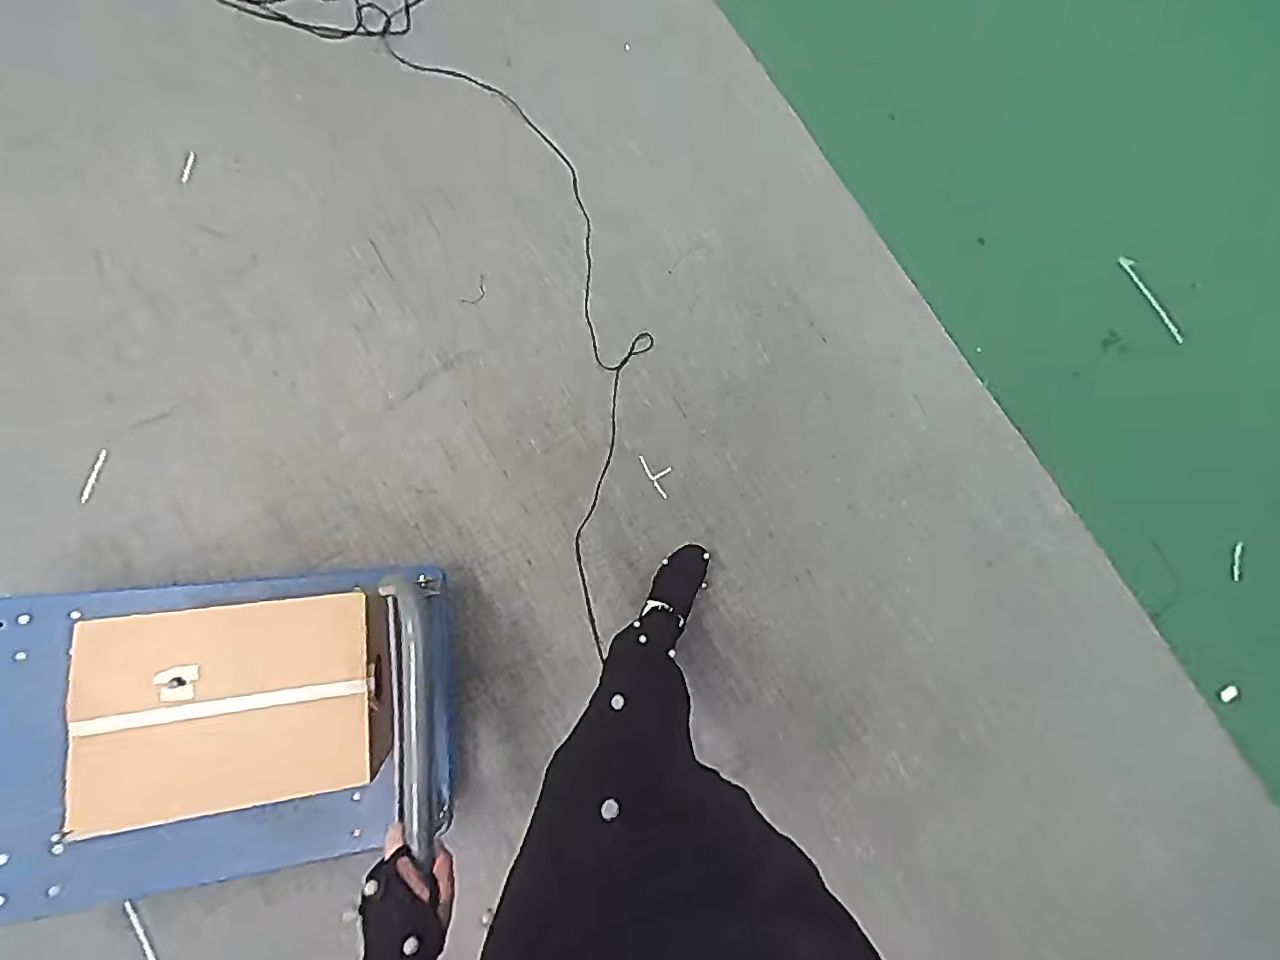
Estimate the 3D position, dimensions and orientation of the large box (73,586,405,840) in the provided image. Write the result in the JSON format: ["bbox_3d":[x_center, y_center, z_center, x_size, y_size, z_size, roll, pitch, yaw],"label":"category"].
[{"bbox_3d":[-0.678,0.378,0.993,0.408,0.320,0.320,-4,81,-15],"label":"large box"}]
